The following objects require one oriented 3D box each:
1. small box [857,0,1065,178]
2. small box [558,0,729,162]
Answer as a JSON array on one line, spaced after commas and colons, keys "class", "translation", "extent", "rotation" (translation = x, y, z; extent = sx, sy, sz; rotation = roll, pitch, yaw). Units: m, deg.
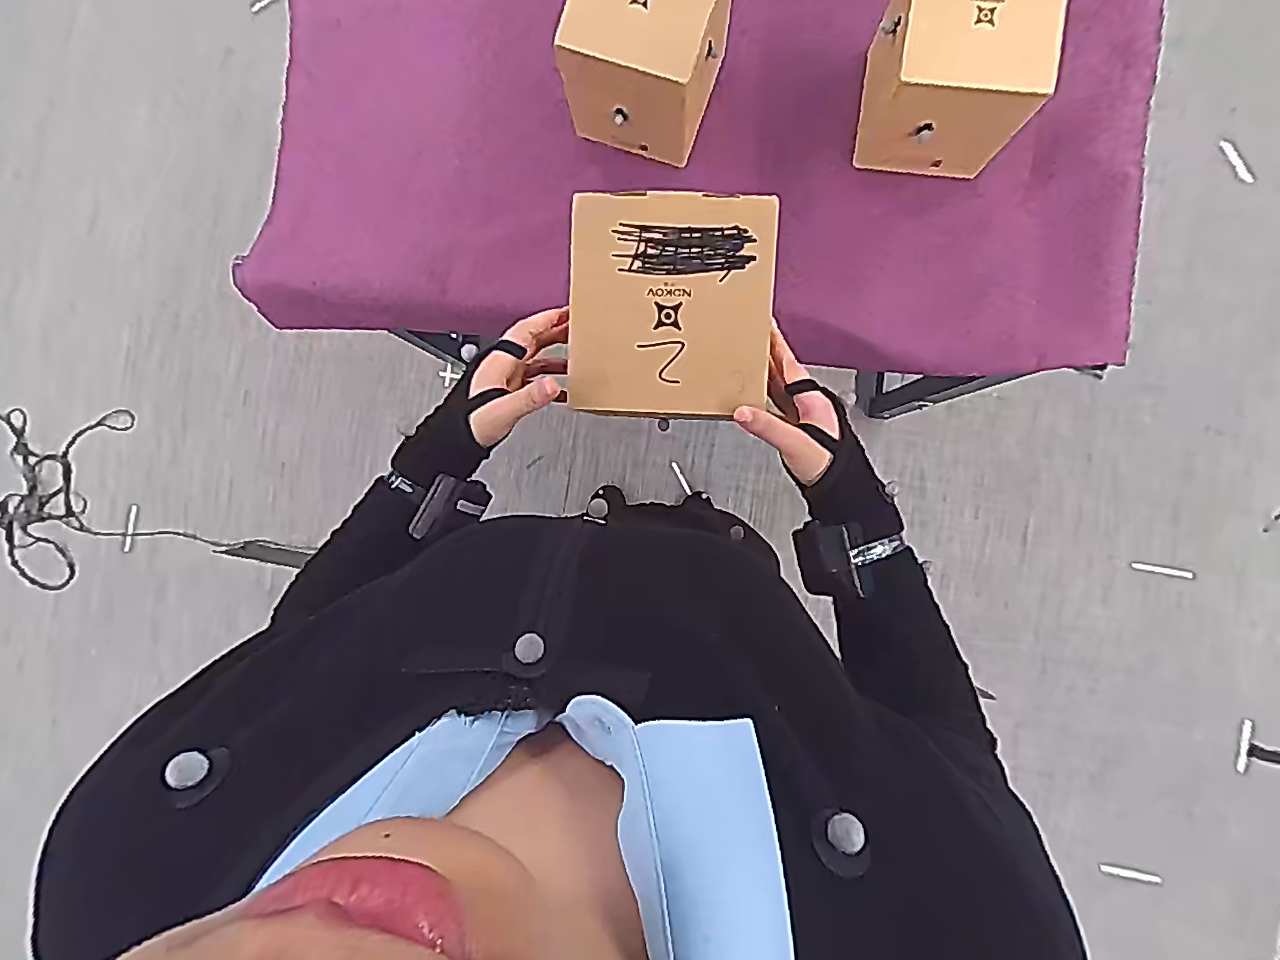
[{"class": "small box", "translation": [0.387, -0.512, 0.678], "extent": [0.168, 0.176, 0.179], "rotation": [9, 89, 4]}, {"class": "small box", "translation": [0.013, -0.555, 0.699], "extent": [0.168, 0.176, 0.179], "rotation": [20, 90, 3]}]
